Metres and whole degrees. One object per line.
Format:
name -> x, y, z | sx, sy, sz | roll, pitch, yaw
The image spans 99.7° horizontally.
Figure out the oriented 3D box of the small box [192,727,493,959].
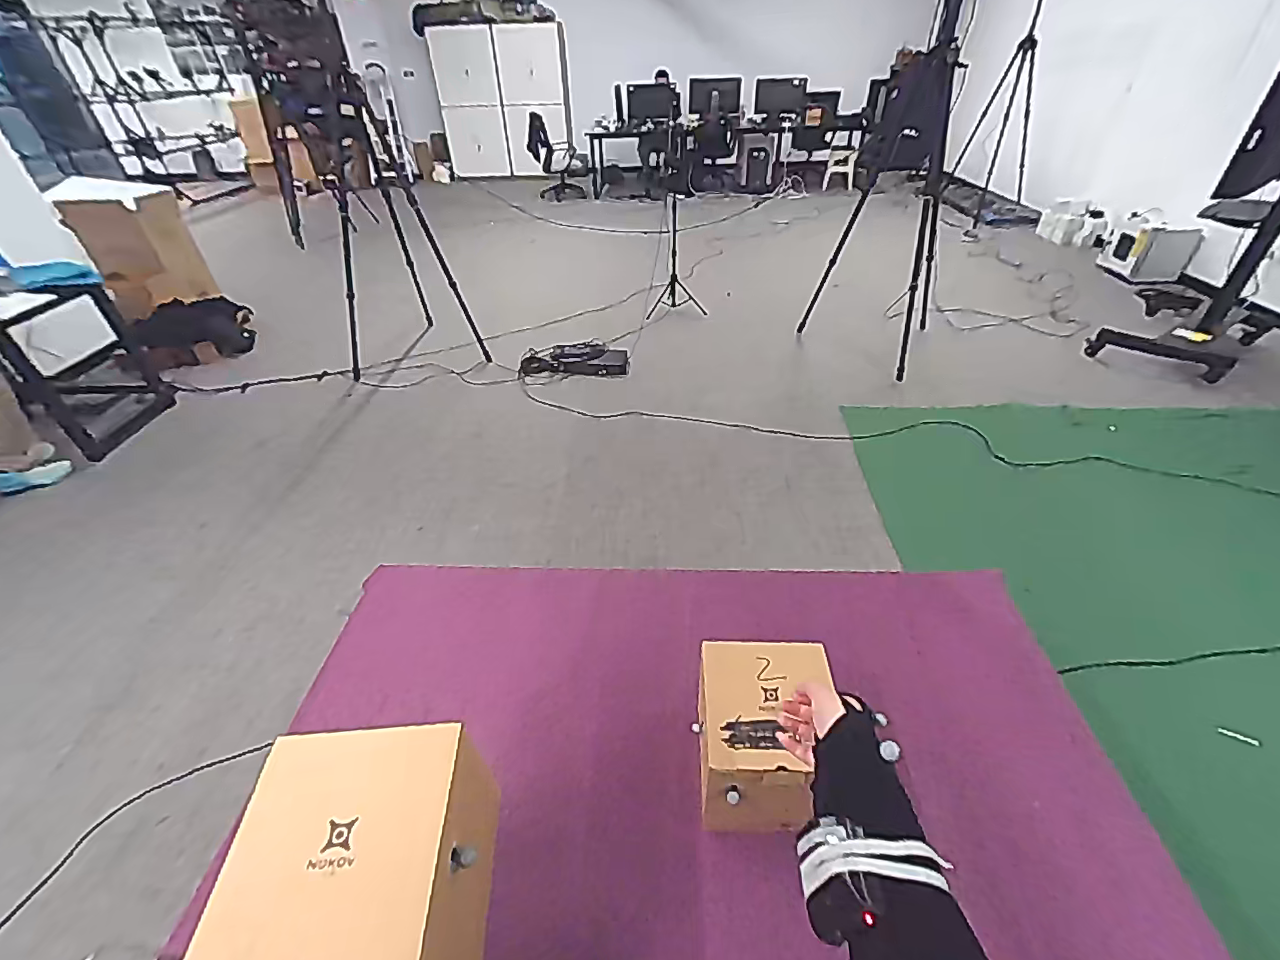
small box -> -0.237, 0.349, 0.488 | 0.168, 0.176, 0.179 | -3, 43, -2
